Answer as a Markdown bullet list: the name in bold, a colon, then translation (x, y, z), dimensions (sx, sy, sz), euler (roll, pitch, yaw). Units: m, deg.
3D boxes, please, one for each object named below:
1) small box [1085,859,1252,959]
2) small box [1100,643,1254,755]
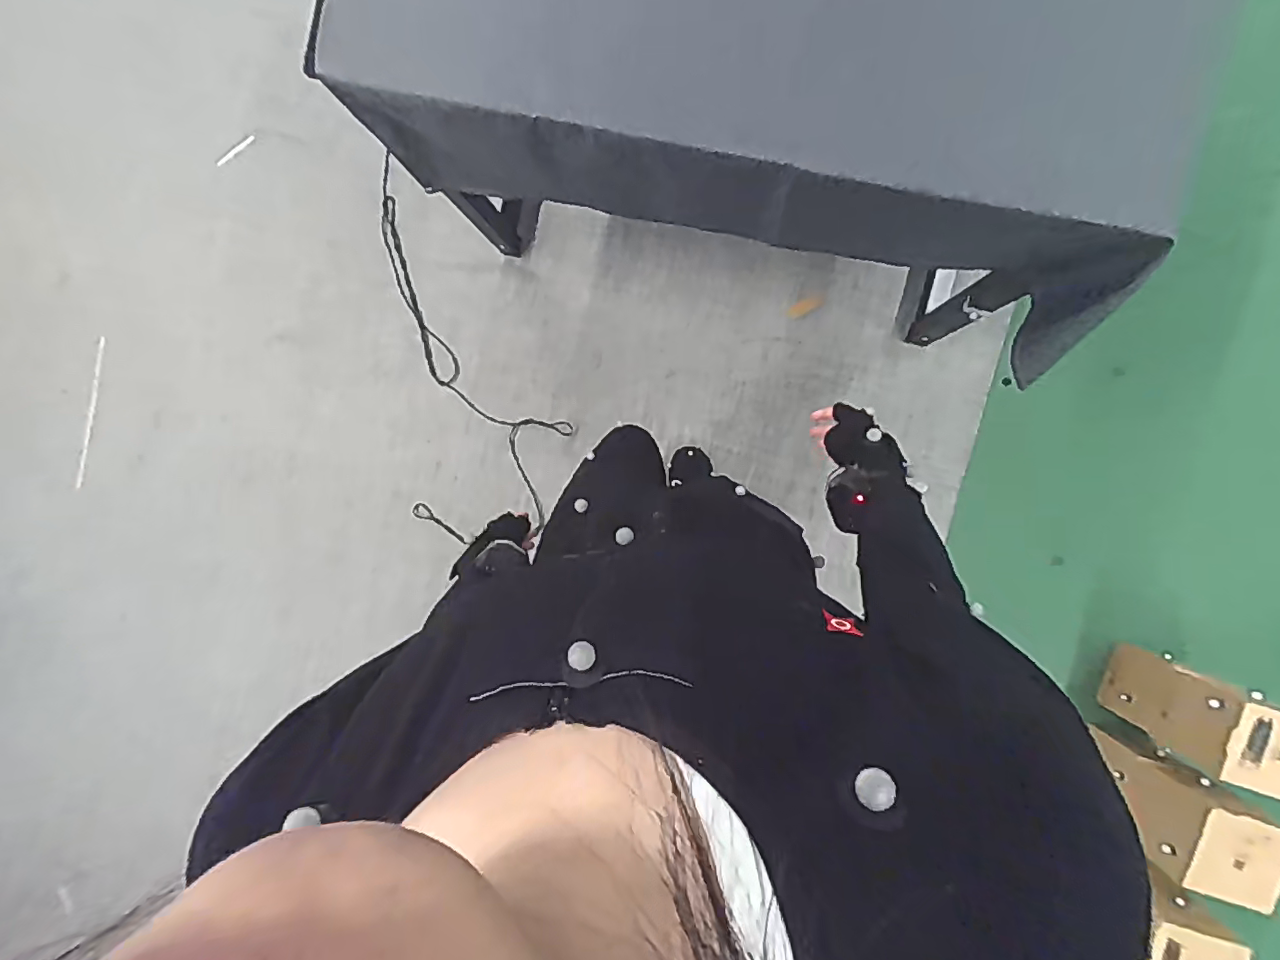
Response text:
- **small box**: translation (1.114, 0.962, 1.158), dimensions (0.179, 0.176, 0.168), euler (14, 94, 6)
- **small box**: translation (1.263, 0.509, 1.288), dimensions (0.179, 0.176, 0.168), euler (19, 94, 5)
